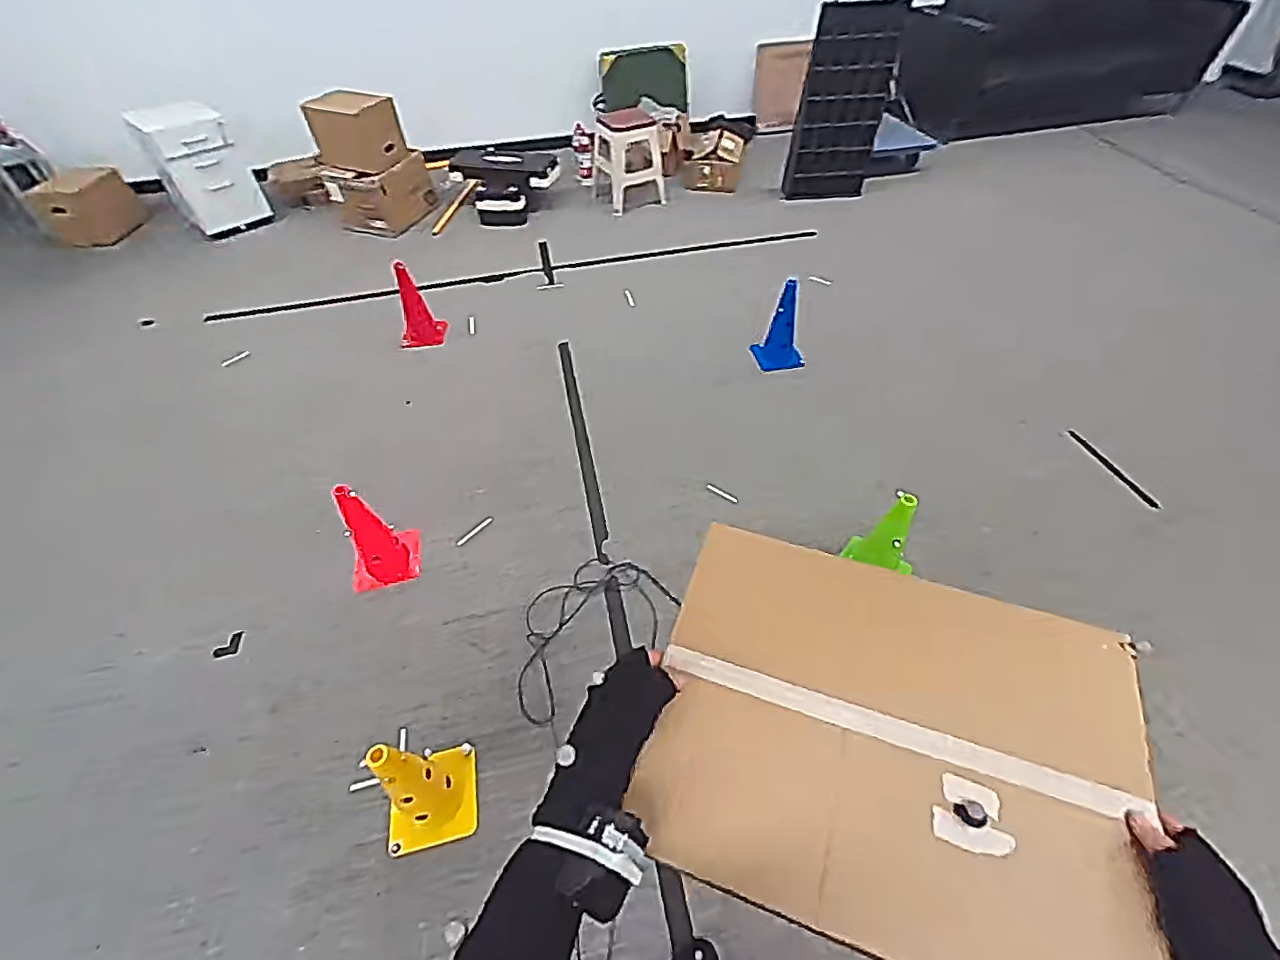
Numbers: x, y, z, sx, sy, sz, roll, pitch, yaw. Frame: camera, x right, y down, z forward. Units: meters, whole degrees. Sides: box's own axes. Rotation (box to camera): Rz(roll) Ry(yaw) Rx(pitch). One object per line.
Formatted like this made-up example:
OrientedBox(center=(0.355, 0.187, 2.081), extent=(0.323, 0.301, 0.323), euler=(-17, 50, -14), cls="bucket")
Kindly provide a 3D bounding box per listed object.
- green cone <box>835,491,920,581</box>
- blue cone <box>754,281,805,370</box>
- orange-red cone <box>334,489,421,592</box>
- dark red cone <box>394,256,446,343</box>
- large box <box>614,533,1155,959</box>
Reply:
OrientedBox(center=(0.717, 0.167, 1.546), extent=(0.200, 0.368, 0.202), euler=(32, 55, 25), cls="green cone")
OrientedBox(center=(0.620, -0.667, 2.306), extent=(0.192, 0.380, 0.193), euler=(-8, 49, -6), cls="blue cone")
OrientedBox(center=(-0.819, 0.152, 1.626), extent=(0.198, 0.360, 0.199), euler=(-13, 51, -8), cls="orange-red cone")
OrientedBox(center=(-1.036, -0.822, 2.460), extent=(0.201, 0.394, 0.202), euler=(-6, 49, -4), cls="dark red cone")
OrientedBox(center=(0.215, 0.306, 0.602), extent=(0.408, 0.320, 0.320), euler=(14, 57, 13), cls="large box")
